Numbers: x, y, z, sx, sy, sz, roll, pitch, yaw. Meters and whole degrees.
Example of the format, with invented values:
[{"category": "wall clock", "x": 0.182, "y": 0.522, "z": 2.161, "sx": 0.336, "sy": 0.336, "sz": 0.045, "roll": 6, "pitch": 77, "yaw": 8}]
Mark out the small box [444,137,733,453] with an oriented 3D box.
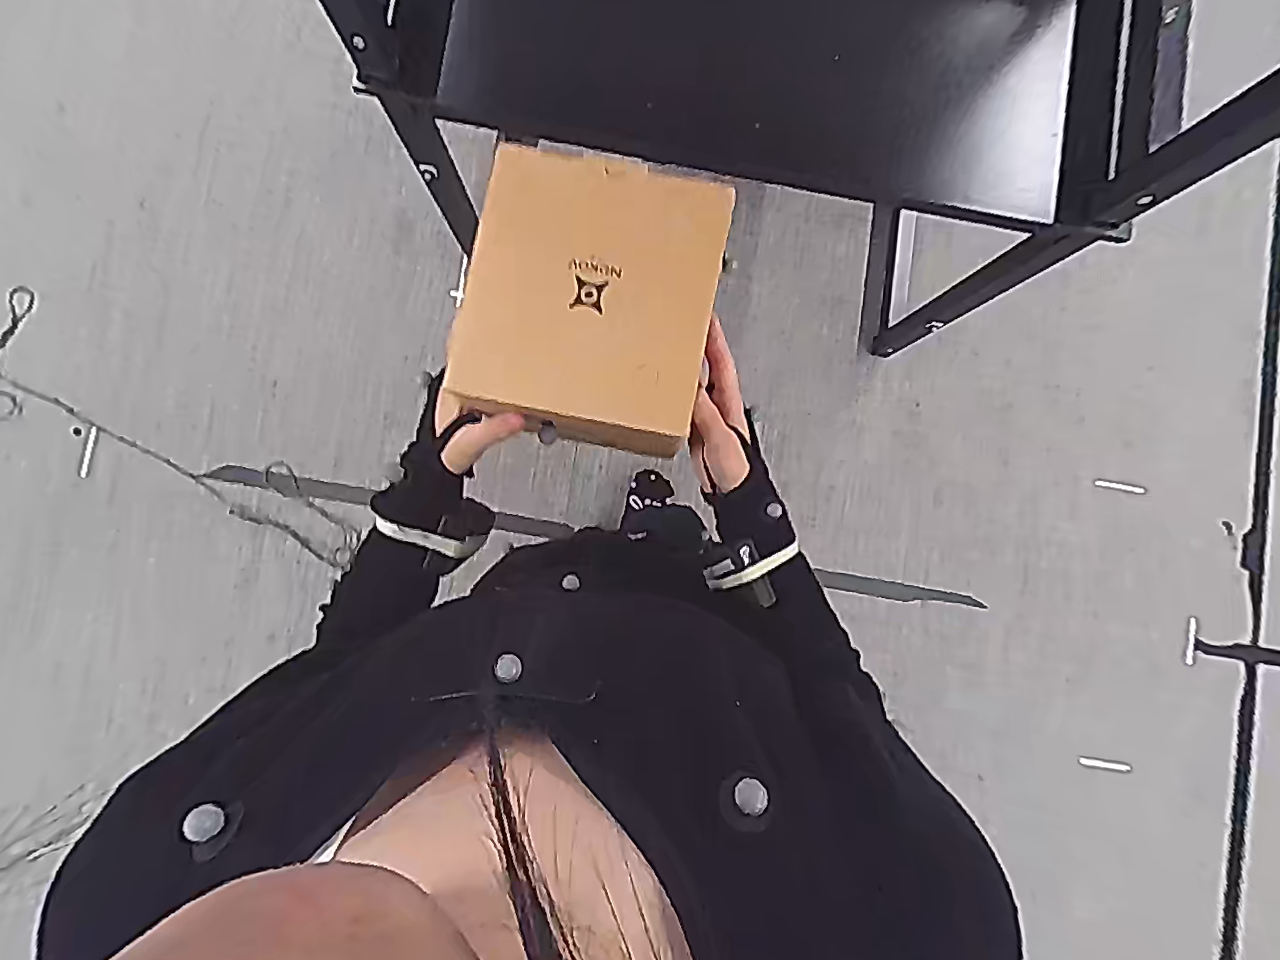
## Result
[{"category": "small box", "x": -0.033, "y": -0.124, "z": 0.433, "sx": 0.168, "sy": 0.176, "sz": 0.179, "roll": 11, "pitch": 86, "yaw": 0}]
